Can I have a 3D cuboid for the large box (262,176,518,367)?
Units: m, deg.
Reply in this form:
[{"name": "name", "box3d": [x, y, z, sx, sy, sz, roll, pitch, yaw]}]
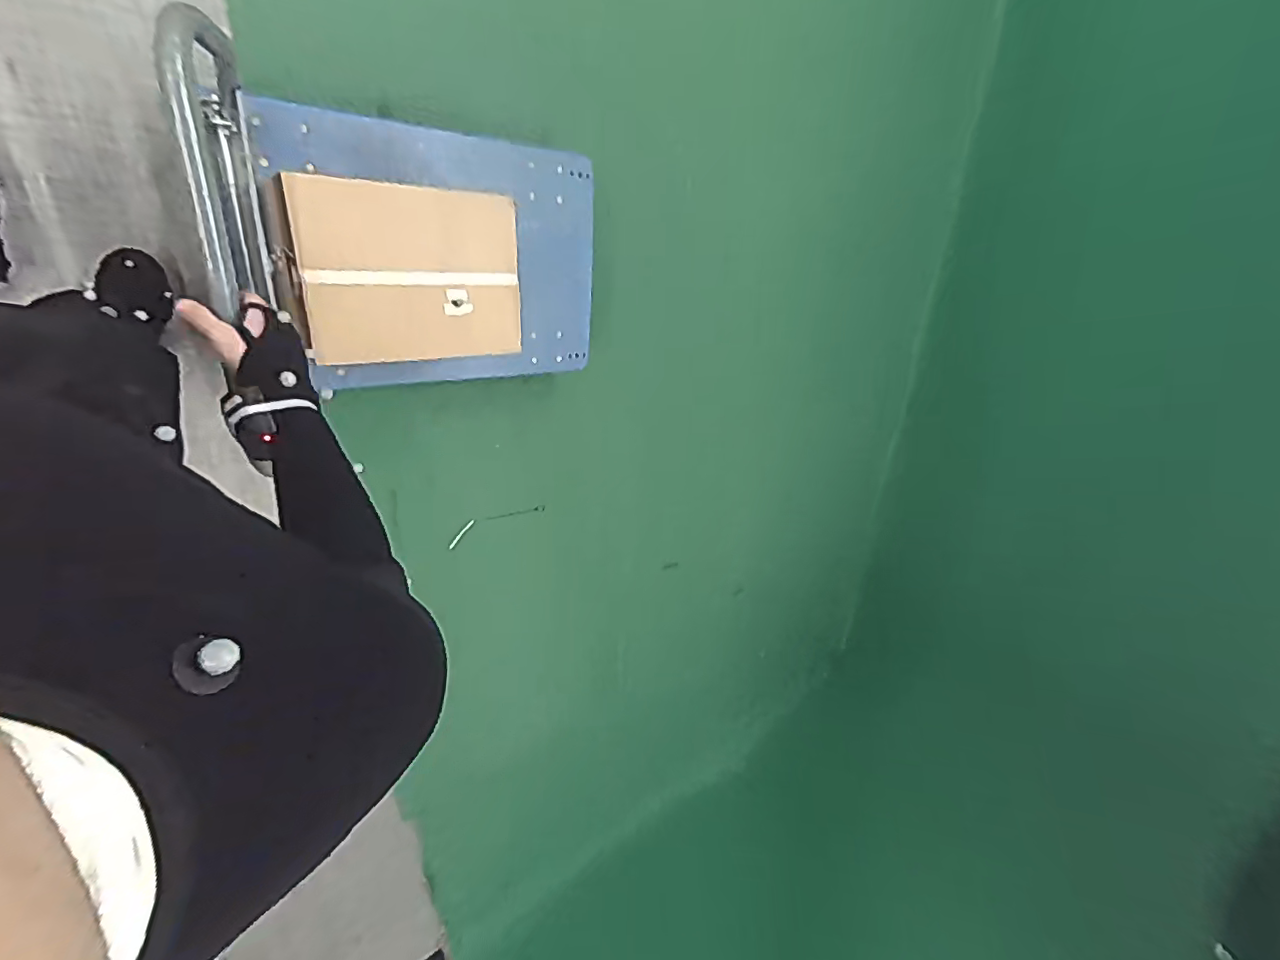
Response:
[{"name": "large box", "box3d": [-0.516, -0.433, 1.144, 0.408, 0.320, 0.320, -14, 118, -35]}]
